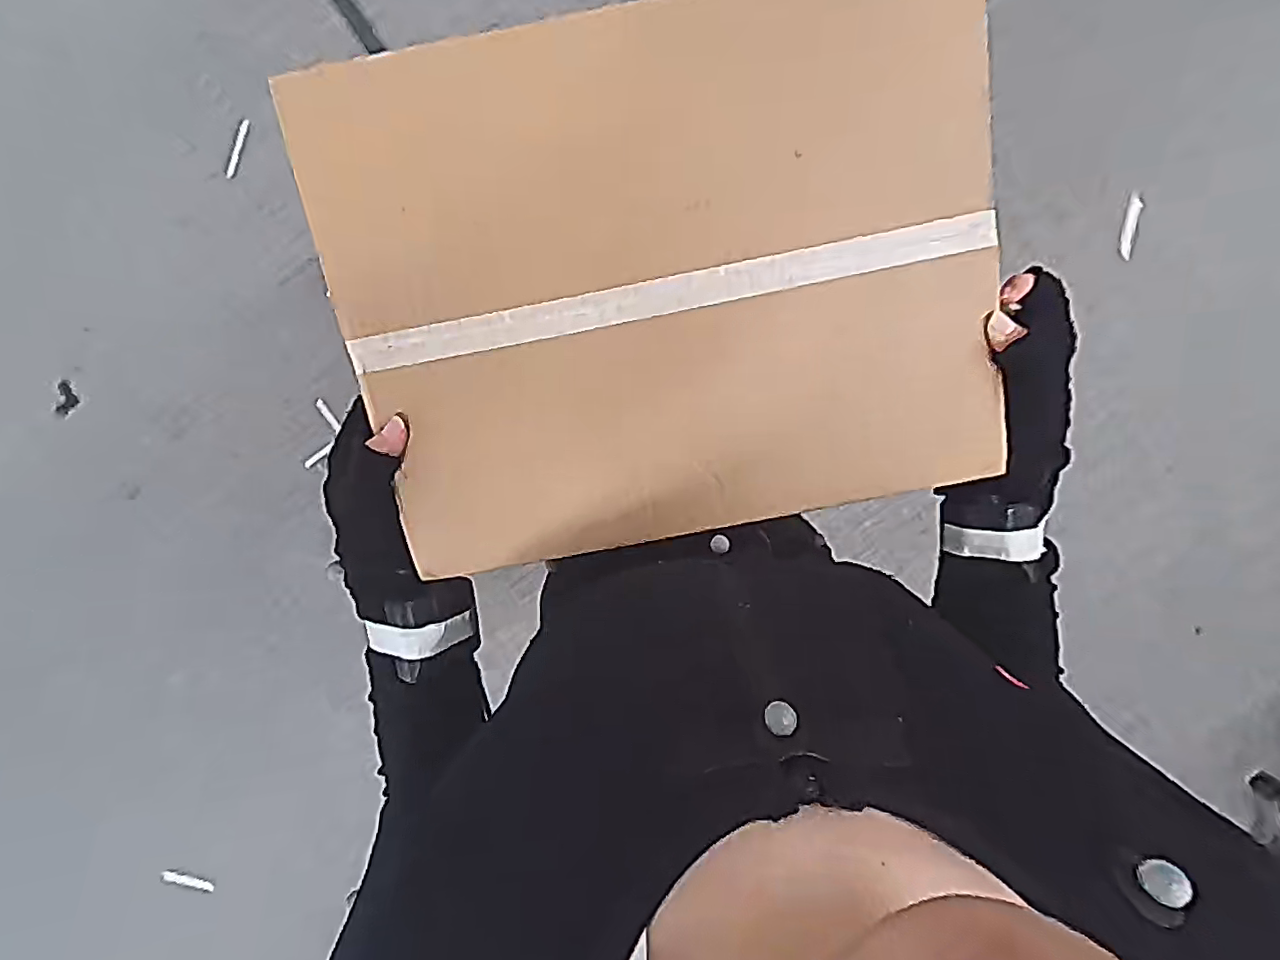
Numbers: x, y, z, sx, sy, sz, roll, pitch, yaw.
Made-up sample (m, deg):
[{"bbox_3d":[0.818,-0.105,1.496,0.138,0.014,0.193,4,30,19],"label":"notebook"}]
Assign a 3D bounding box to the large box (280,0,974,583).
[{"bbox_3d":[0.008,-0.147,0.493,0.408,0.320,0.320,-12,102,2],"label":"large box"}]
